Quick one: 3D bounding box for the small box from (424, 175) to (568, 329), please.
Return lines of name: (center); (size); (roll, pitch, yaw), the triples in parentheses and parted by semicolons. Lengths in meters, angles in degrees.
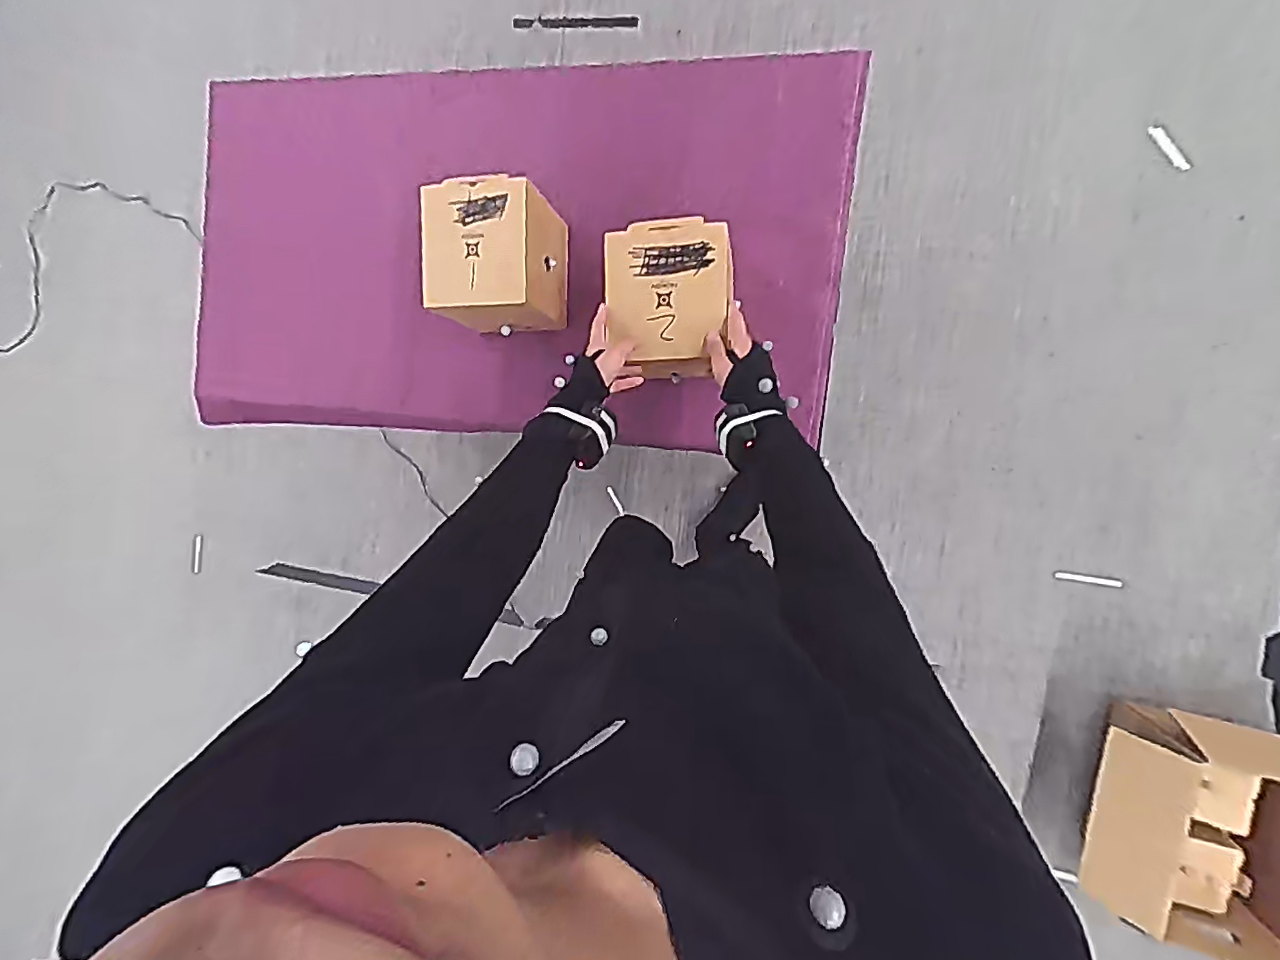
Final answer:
small box: (-0.219, -0.346, 0.853); (0.168, 0.176, 0.179); (2, 94, 12)
